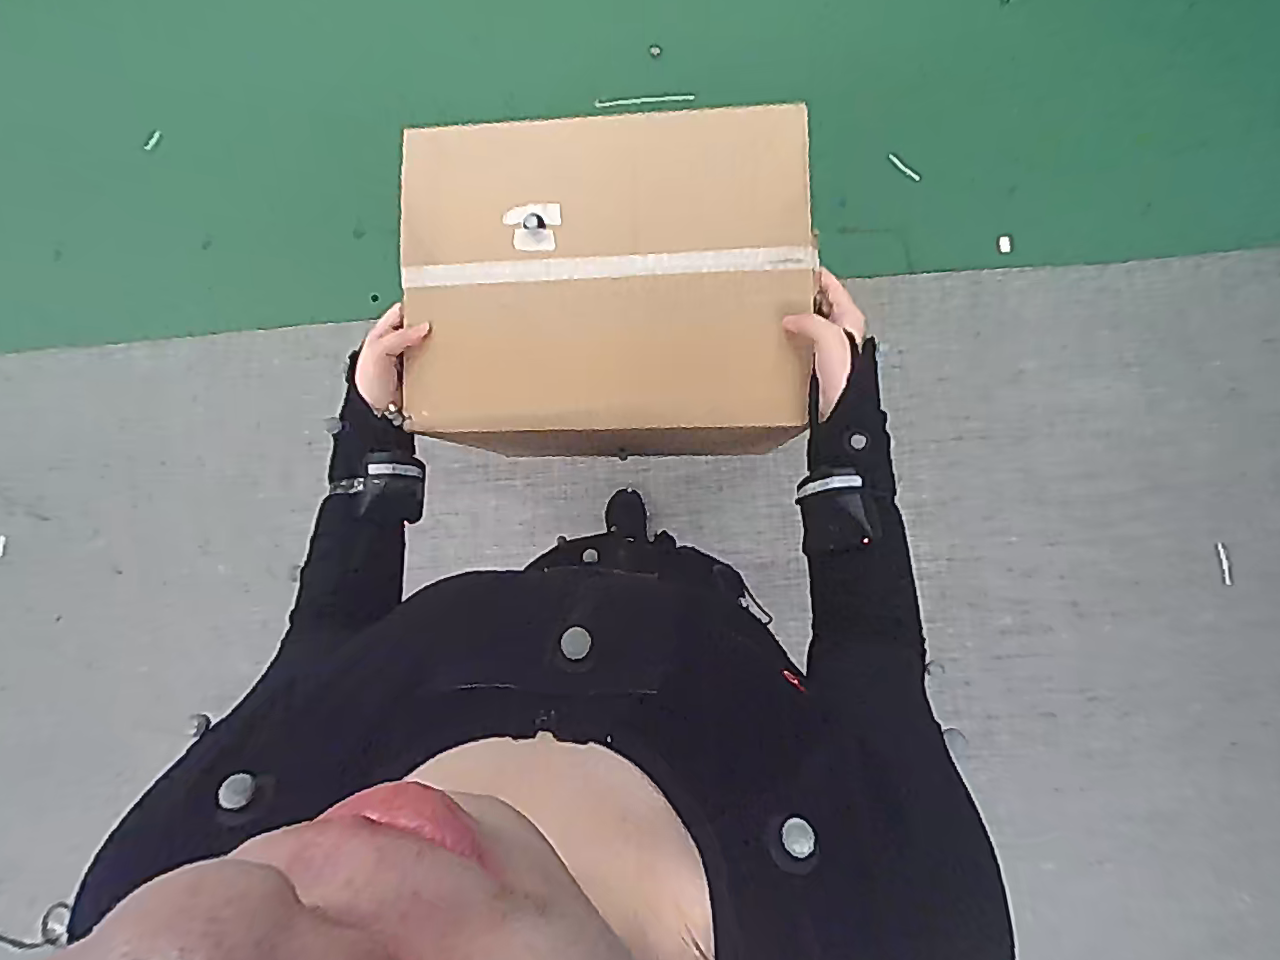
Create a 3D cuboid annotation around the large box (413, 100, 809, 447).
[{"bbox_3d":[-0.021,-0.210,0.690,0.408,0.320,0.320,-1,88,6],"label":"large box"}]
